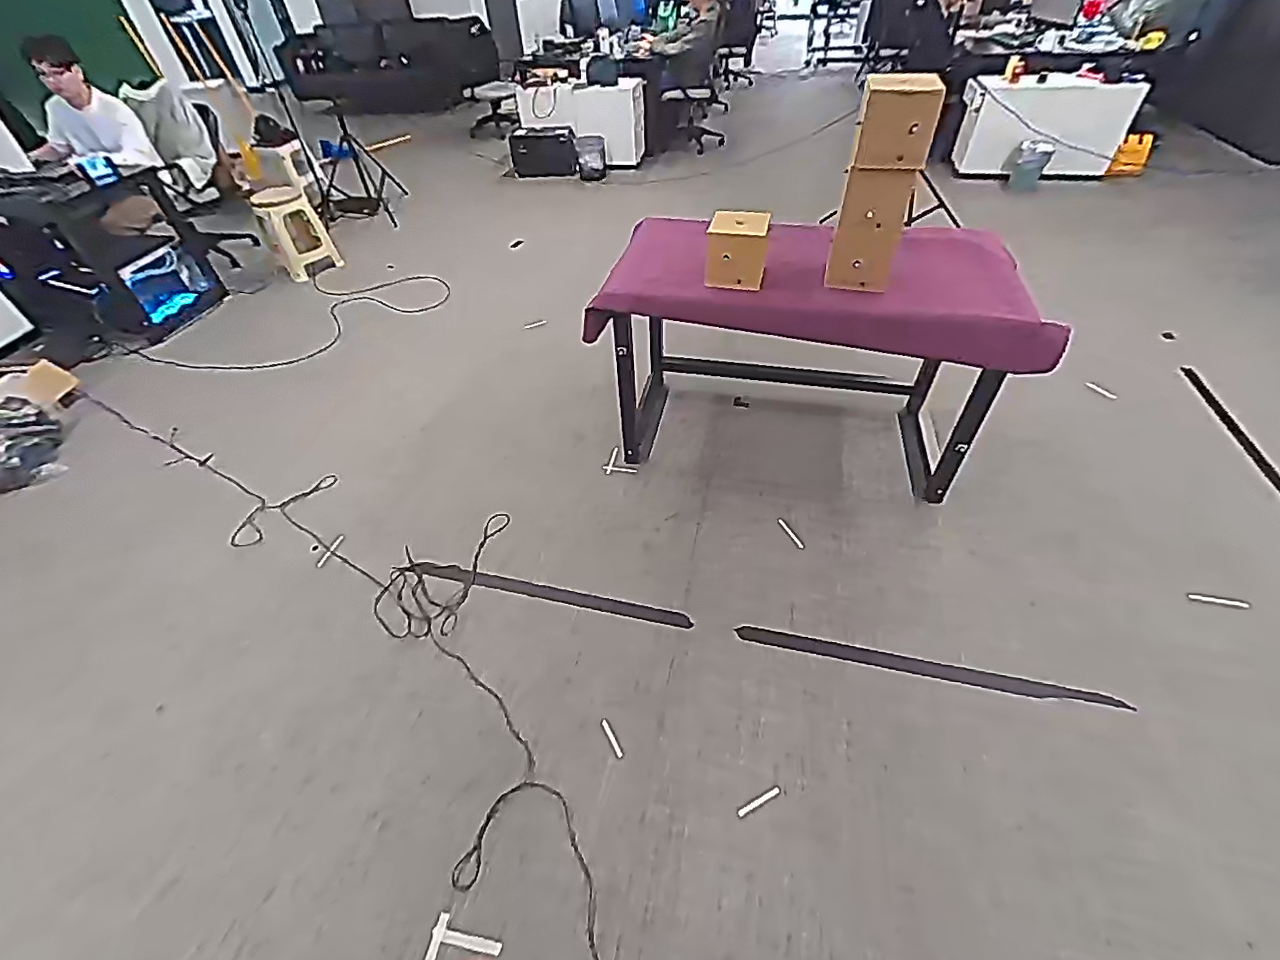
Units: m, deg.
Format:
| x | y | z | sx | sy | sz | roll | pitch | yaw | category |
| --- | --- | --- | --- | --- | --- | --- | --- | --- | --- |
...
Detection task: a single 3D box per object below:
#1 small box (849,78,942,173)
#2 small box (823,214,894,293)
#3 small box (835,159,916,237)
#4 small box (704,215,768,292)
| x | y | z | sx | sy | sz | roll | pitch | yaw | category |
| --- | --- | --- | --- | --- | --- | --- | --- | --- | --- |
| 0.628 | -0.885 | 1.351 | 0.168 | 0.176 | 0.179 | 8 | 46 | 10 | small box |
| 0.642 | -0.669 | 1.597 | 0.168 | 0.176 | 0.179 | 10 | 47 | 13 | small box |
| 0.639 | -0.787 | 1.482 | 0.168 | 0.176 | 0.179 | 10 | 47 | 13 | small box |
| 0.288 | -0.683 | 1.633 | 0.168 | 0.176 | 0.179 | 9 | 45 | 11 | small box |
